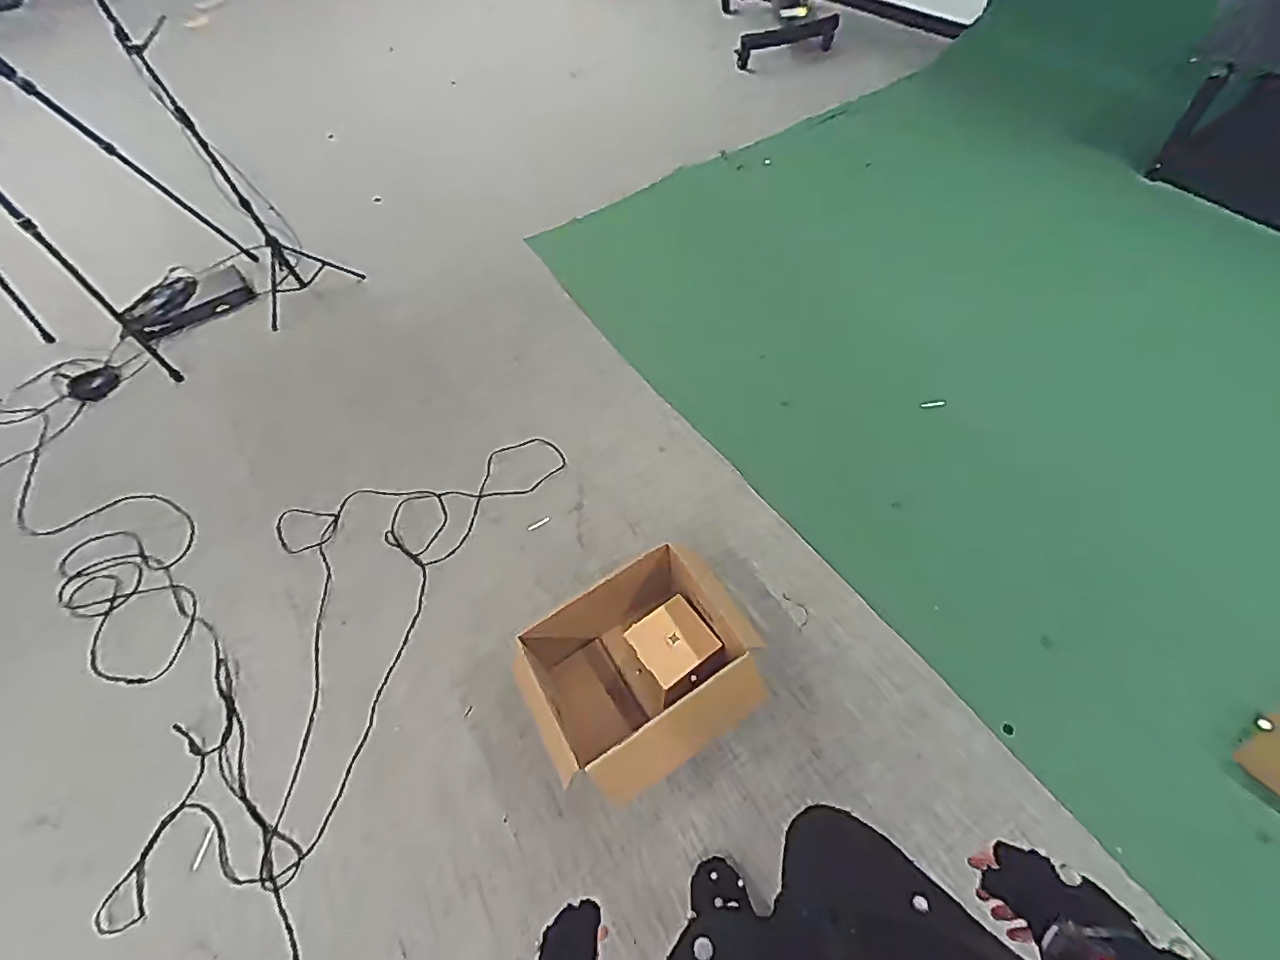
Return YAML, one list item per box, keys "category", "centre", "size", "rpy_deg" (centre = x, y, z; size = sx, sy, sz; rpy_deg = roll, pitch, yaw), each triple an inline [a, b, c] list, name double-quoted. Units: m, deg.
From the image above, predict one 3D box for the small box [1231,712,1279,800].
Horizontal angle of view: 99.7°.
- category: "small box"
  centre: [1.424, 0.592, 1.121]
  size: [0.168, 0.176, 0.179]
  rpy_deg: [-34, 59, -16]
